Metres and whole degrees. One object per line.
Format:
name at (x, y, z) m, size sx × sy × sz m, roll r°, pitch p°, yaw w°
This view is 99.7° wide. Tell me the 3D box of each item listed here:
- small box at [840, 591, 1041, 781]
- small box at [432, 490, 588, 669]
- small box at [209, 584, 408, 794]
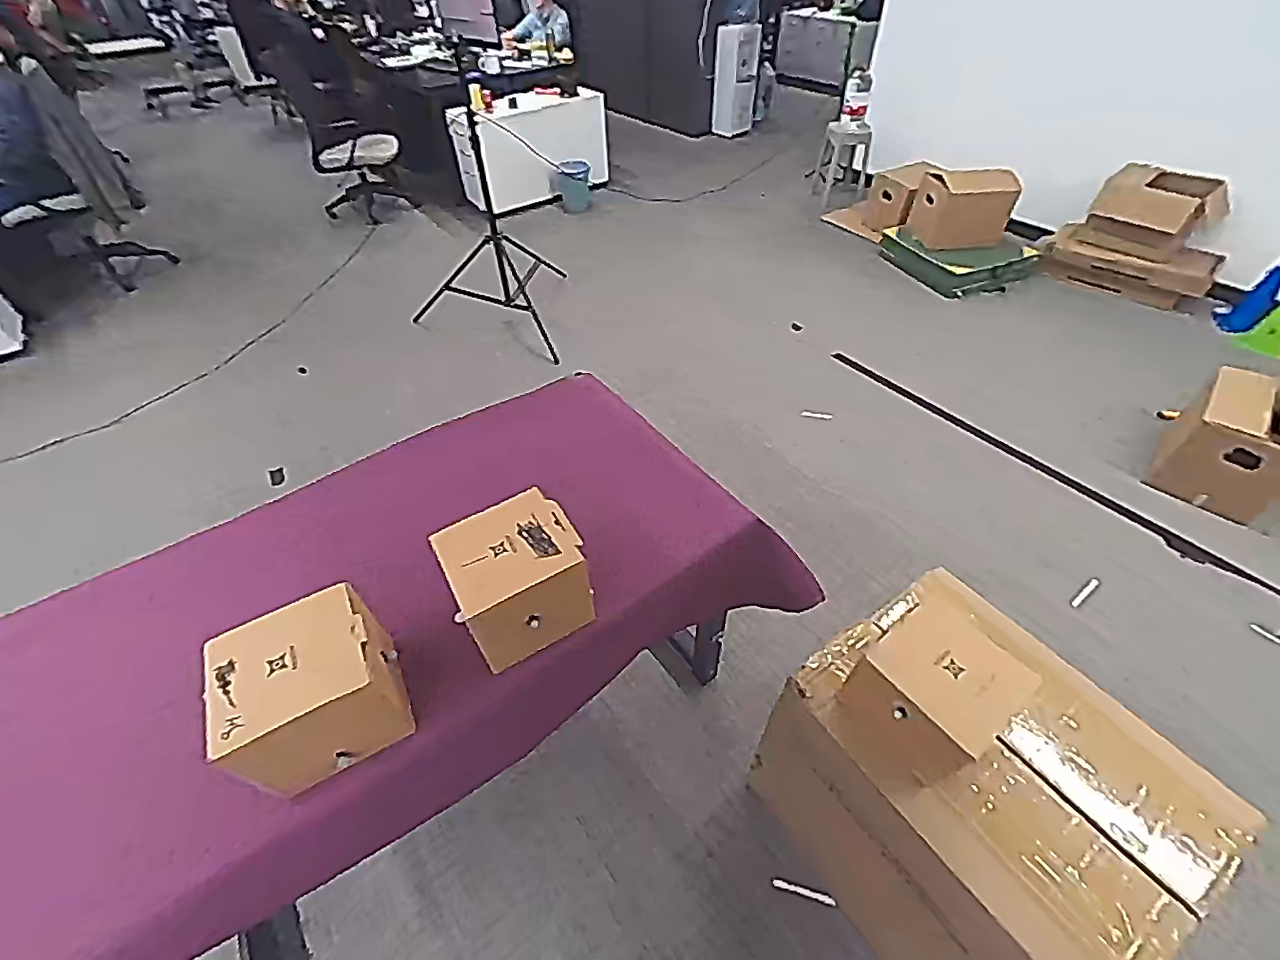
small box at (0.429, 0.308, 0.805) m, size 0.168 × 0.176 × 0.179 m, roll -31°, pitch 54°, yaw -21°
small box at (-0.189, 0.153, 0.831) m, size 0.179 × 0.176 × 0.168 m, roll -25°, pitch 50°, yaw -20°
small box at (-0.429, 0.278, 0.721) m, size 0.179 × 0.176 × 0.168 m, roll -24°, pitch 49°, yaw -20°
